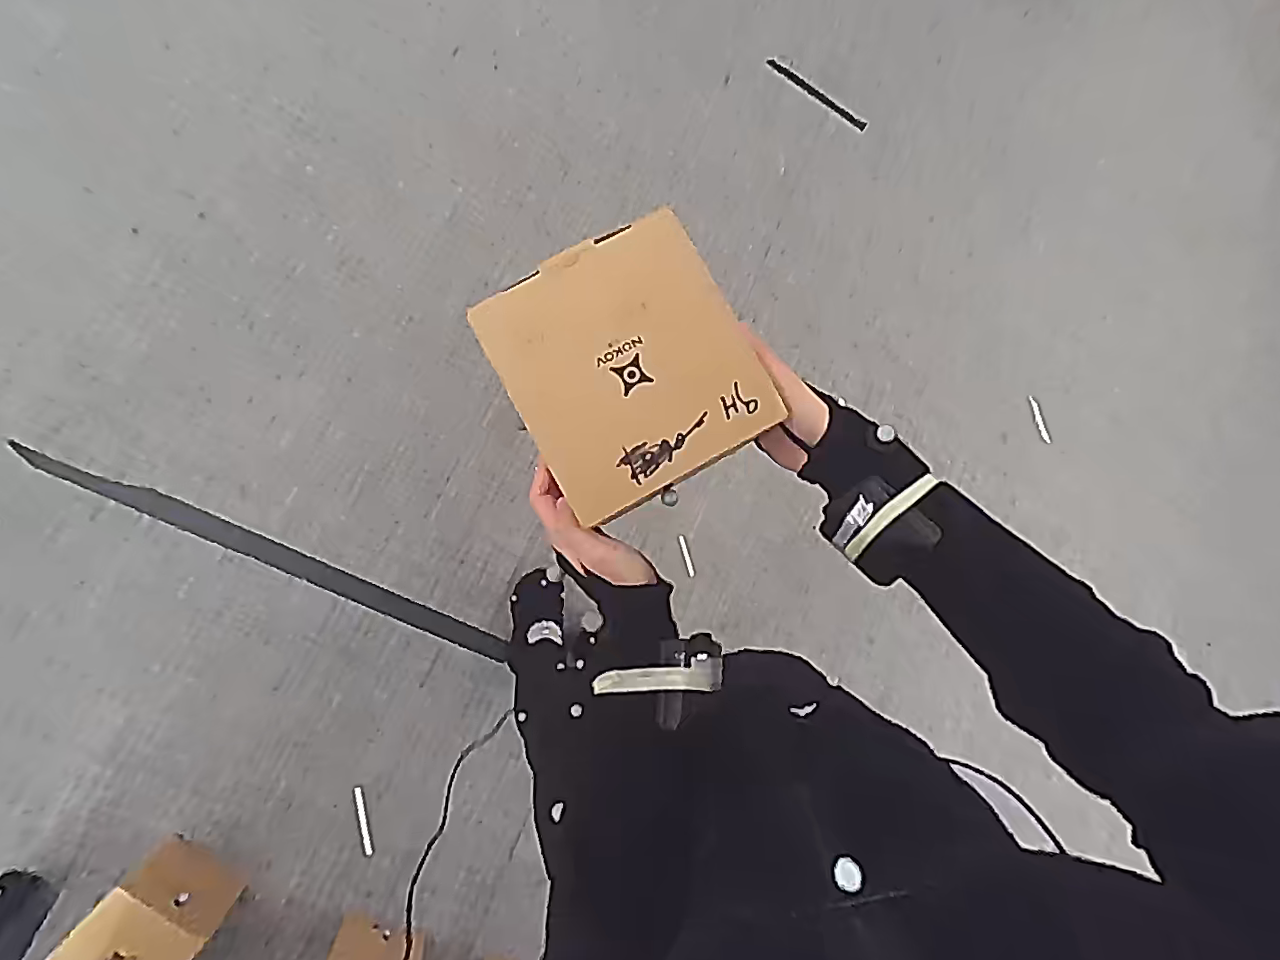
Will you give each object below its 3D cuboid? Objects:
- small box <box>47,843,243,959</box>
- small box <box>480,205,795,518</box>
[{"bbox_3d":[-0.860,0.786,0.951,0.179,0.176,0.168,44,74,-9],"label":"small box"},{"bbox_3d":[-0.005,-0.077,0.451,0.168,0.176,0.179,-28,87,-3],"label":"small box"}]
